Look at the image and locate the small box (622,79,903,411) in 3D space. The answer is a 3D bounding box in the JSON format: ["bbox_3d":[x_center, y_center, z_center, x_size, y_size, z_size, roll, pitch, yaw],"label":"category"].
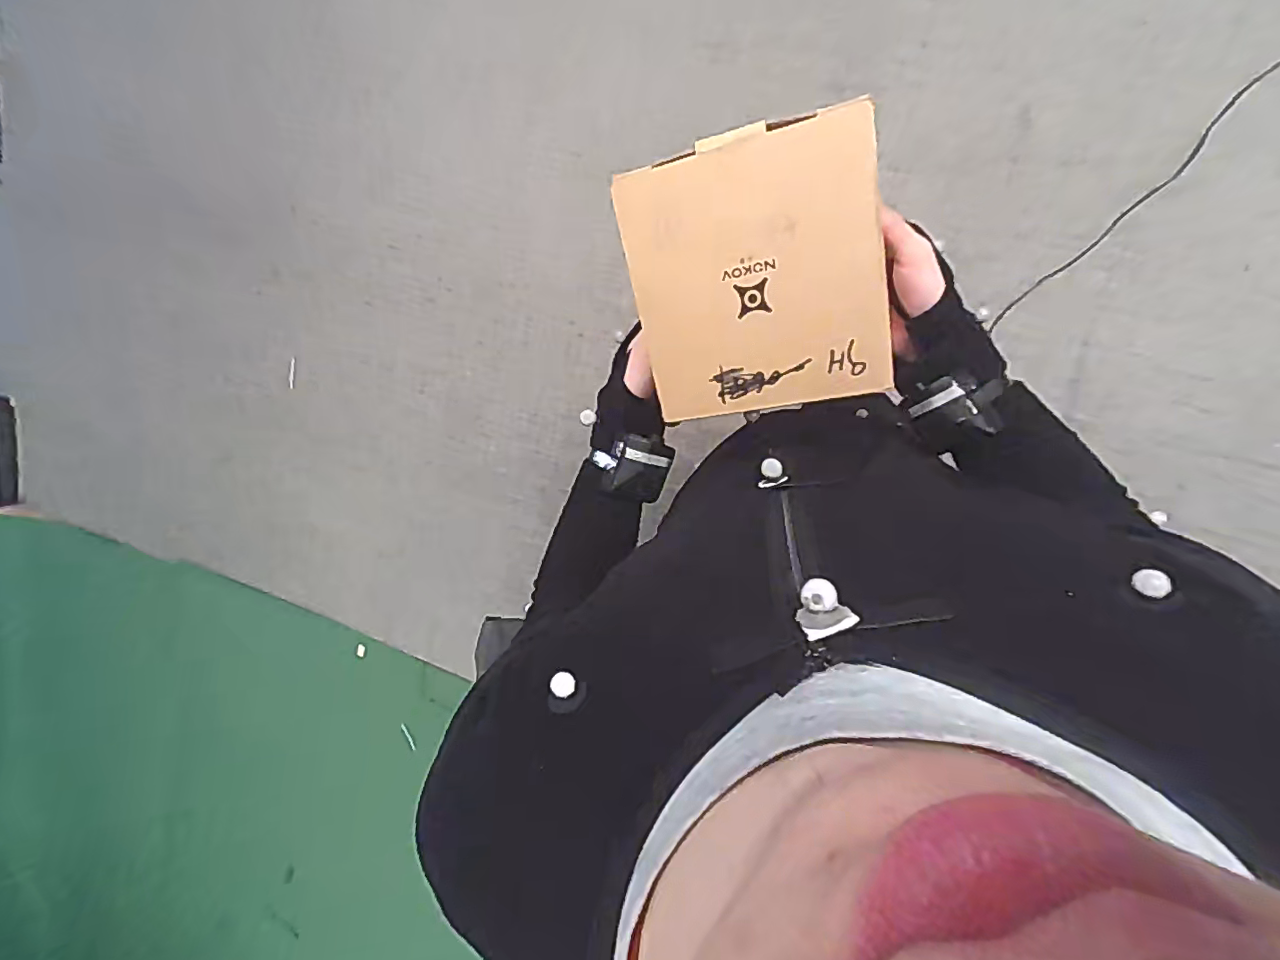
[{"bbox_3d":[0.103,-0.170,0.430,0.168,0.176,0.179,-7,111,21],"label":"small box"}]
